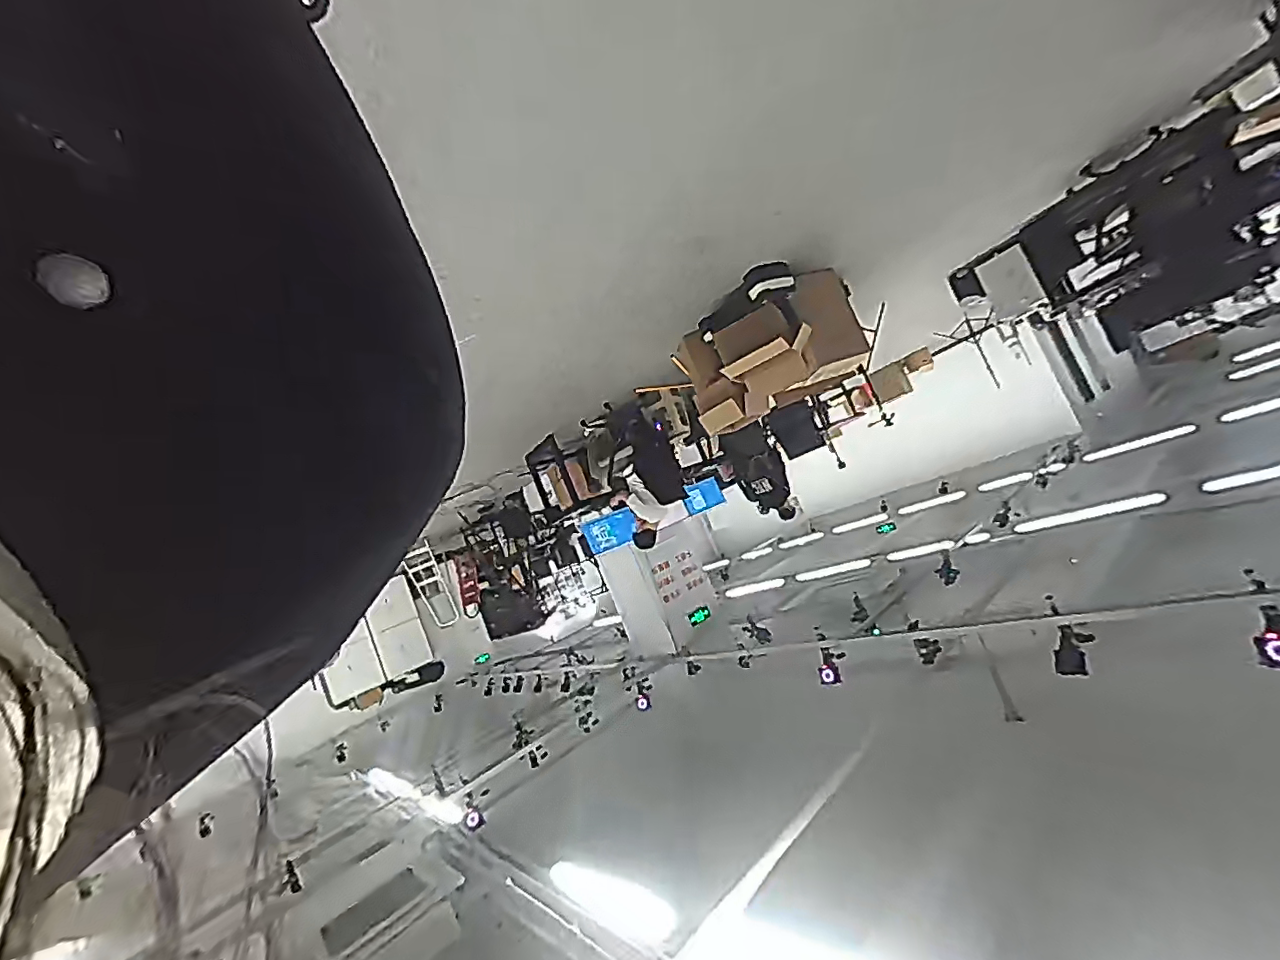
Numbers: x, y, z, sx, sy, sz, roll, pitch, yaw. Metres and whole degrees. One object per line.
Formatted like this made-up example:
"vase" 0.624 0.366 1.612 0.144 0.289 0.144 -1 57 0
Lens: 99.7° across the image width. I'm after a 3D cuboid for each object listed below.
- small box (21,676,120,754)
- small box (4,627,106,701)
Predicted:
"small box" -1.785 0.731 1.699 0.168 0.176 0.179 -19 172 -39
"small box" -1.847 0.580 1.712 0.179 0.176 0.168 -17 171 -40
